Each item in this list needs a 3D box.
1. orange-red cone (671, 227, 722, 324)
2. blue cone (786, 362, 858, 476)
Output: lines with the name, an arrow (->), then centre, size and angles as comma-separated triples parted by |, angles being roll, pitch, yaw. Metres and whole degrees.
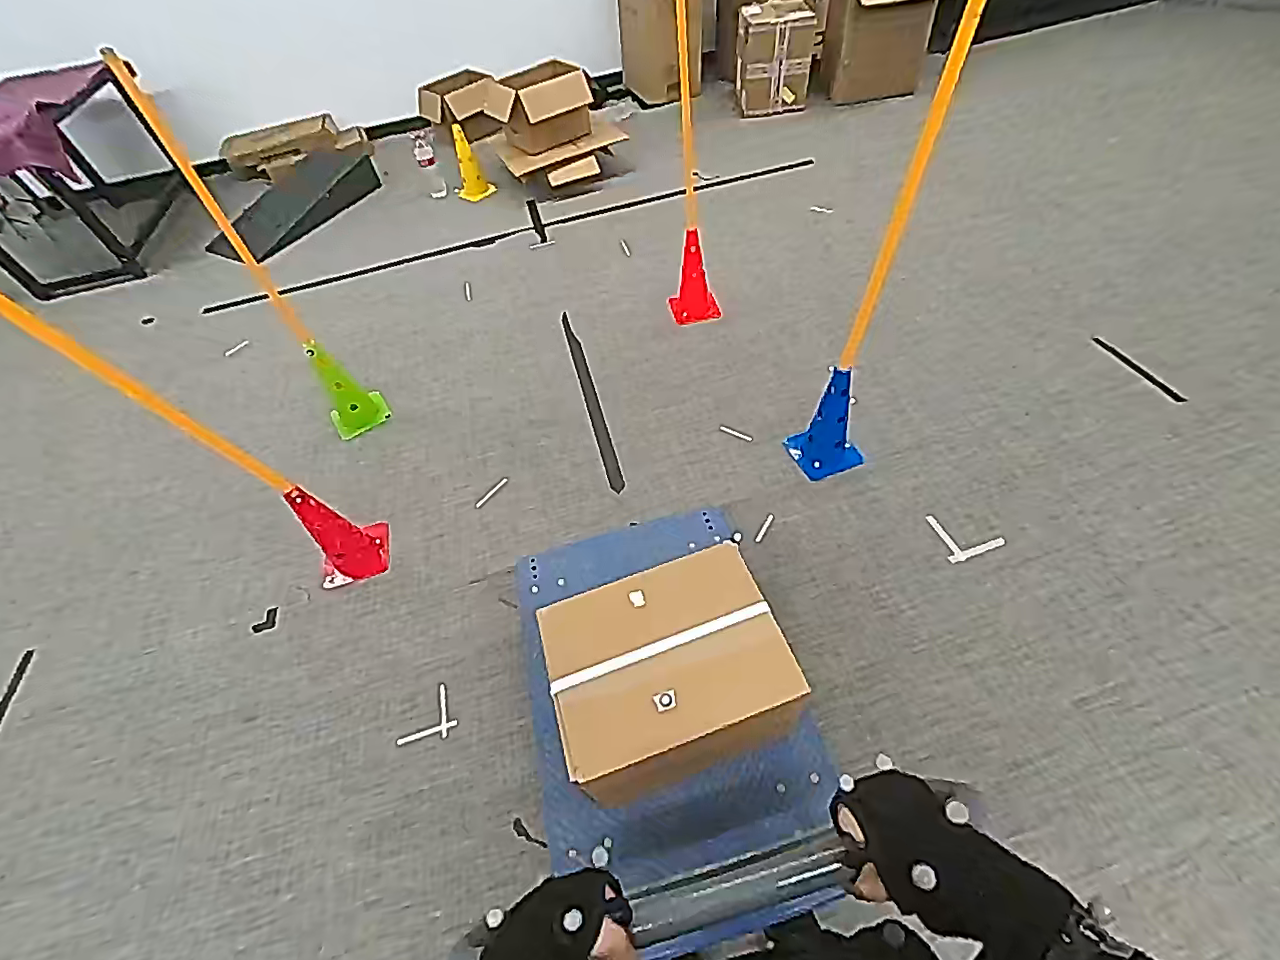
orange-red cone -> 0.225, -0.848, 2.198 | 0.199, 0.360, 0.198 | -10, 53, -2
blue cone -> 0.589, -0.201, 1.669 | 0.193, 0.380, 0.192 | -19, 51, -8
